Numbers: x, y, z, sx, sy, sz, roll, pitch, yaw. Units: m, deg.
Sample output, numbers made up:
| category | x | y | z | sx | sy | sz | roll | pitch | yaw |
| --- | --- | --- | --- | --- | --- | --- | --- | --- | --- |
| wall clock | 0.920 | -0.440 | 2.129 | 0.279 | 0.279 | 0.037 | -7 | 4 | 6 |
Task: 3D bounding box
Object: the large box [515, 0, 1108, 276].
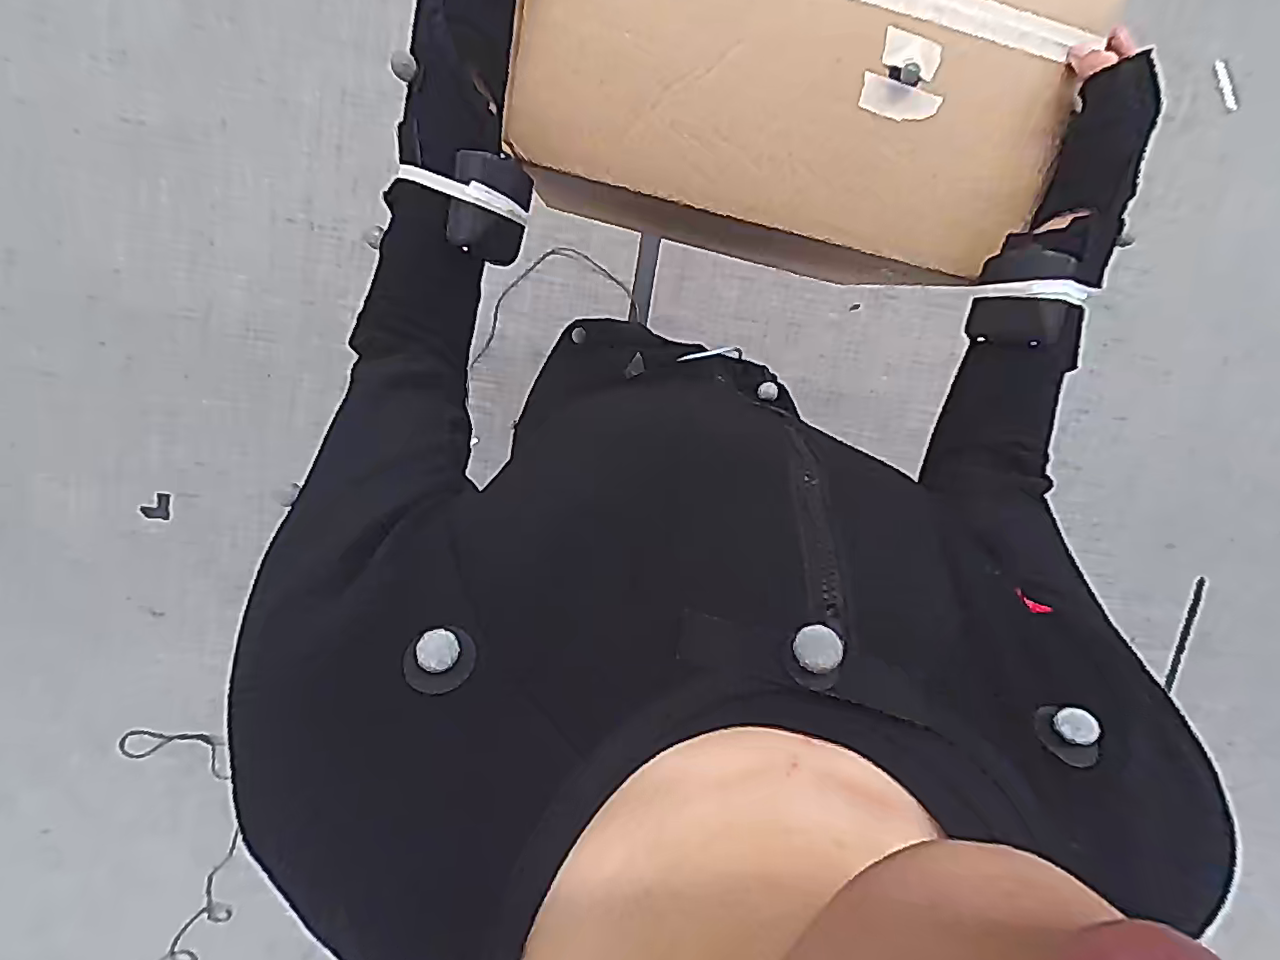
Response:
| category | x | y | z | sx | sy | sz | roll | pitch | yaw |
| --- | --- | --- | --- | --- | --- | --- | --- | --- | --- |
| large box | 0.118 | -0.394 | 0.509 | 0.408 | 0.320 | 0.320 | 10 | 111 | -9 |
